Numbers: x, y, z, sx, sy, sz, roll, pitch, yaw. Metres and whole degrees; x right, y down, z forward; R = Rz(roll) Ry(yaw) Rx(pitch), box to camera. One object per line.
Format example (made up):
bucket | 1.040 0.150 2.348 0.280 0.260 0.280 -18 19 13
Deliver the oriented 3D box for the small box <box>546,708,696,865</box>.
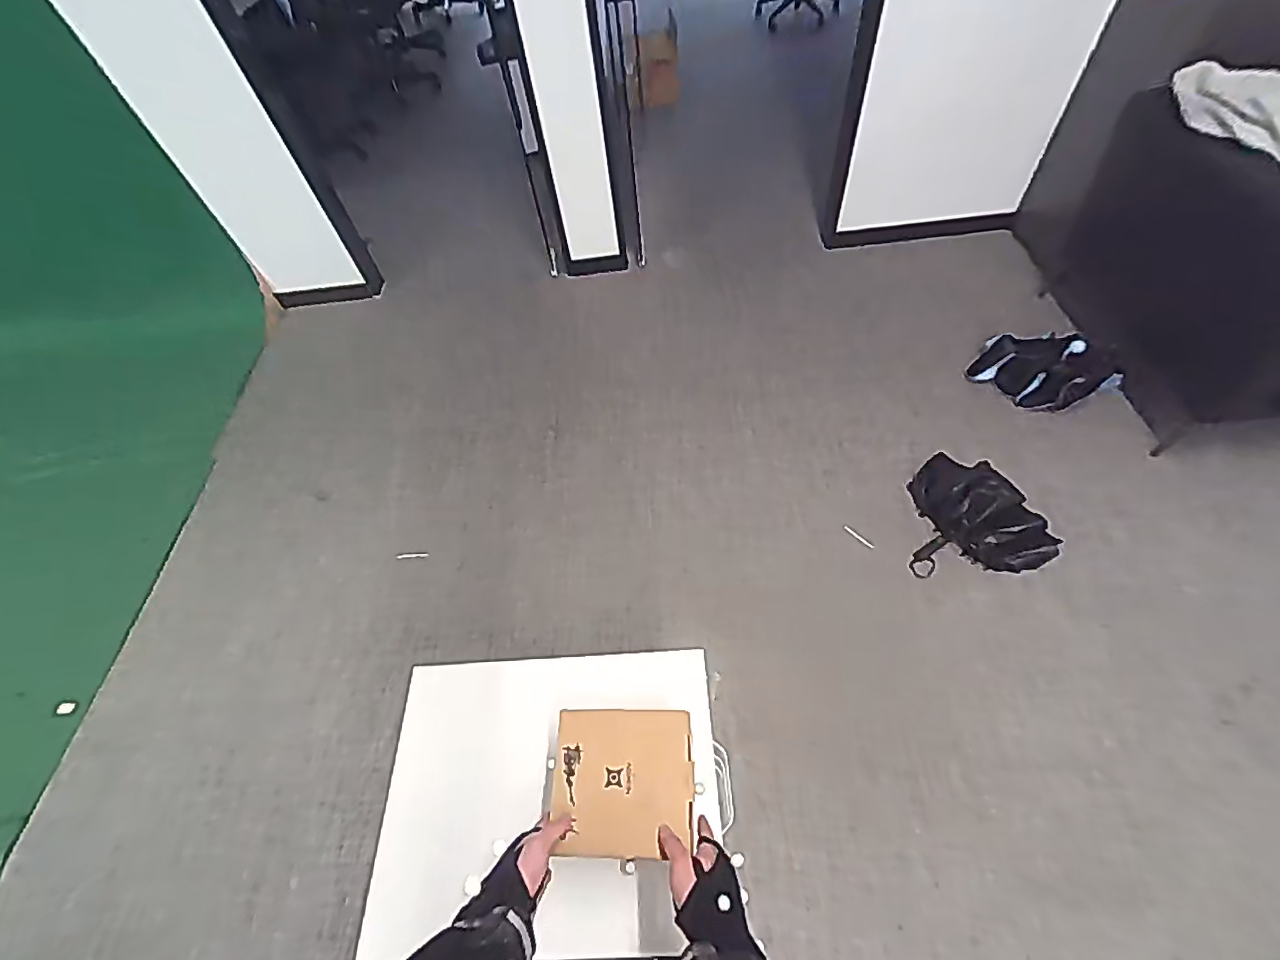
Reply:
small box | -0.017 0.416 0.734 0.179 0.176 0.168 -1 56 4
